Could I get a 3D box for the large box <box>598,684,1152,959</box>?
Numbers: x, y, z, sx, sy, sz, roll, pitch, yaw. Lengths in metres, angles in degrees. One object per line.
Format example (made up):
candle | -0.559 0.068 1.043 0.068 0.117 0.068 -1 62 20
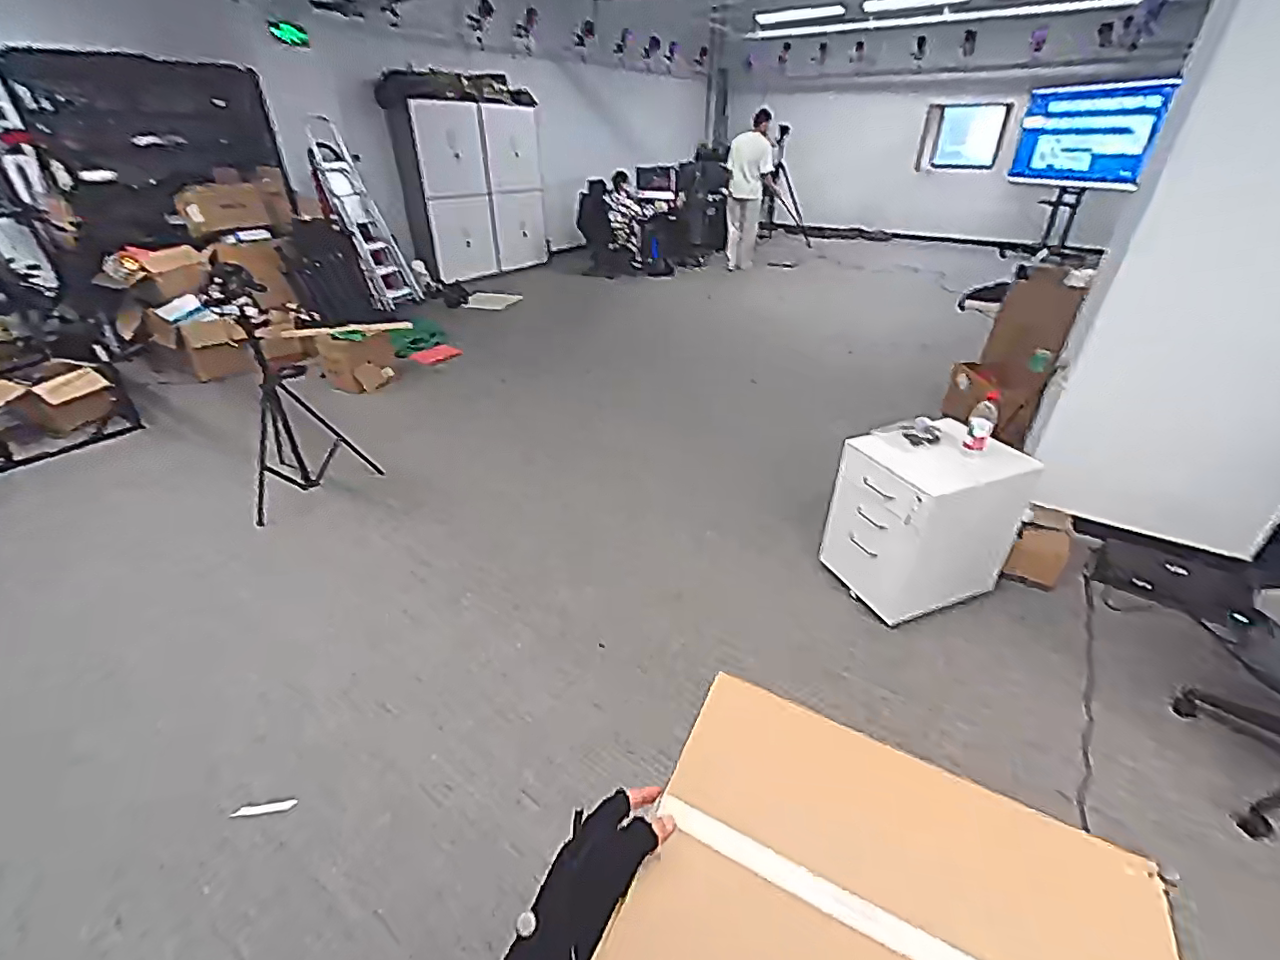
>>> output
large box | 0.188 0.484 0.531 0.408 0.320 0.320 19 41 19
